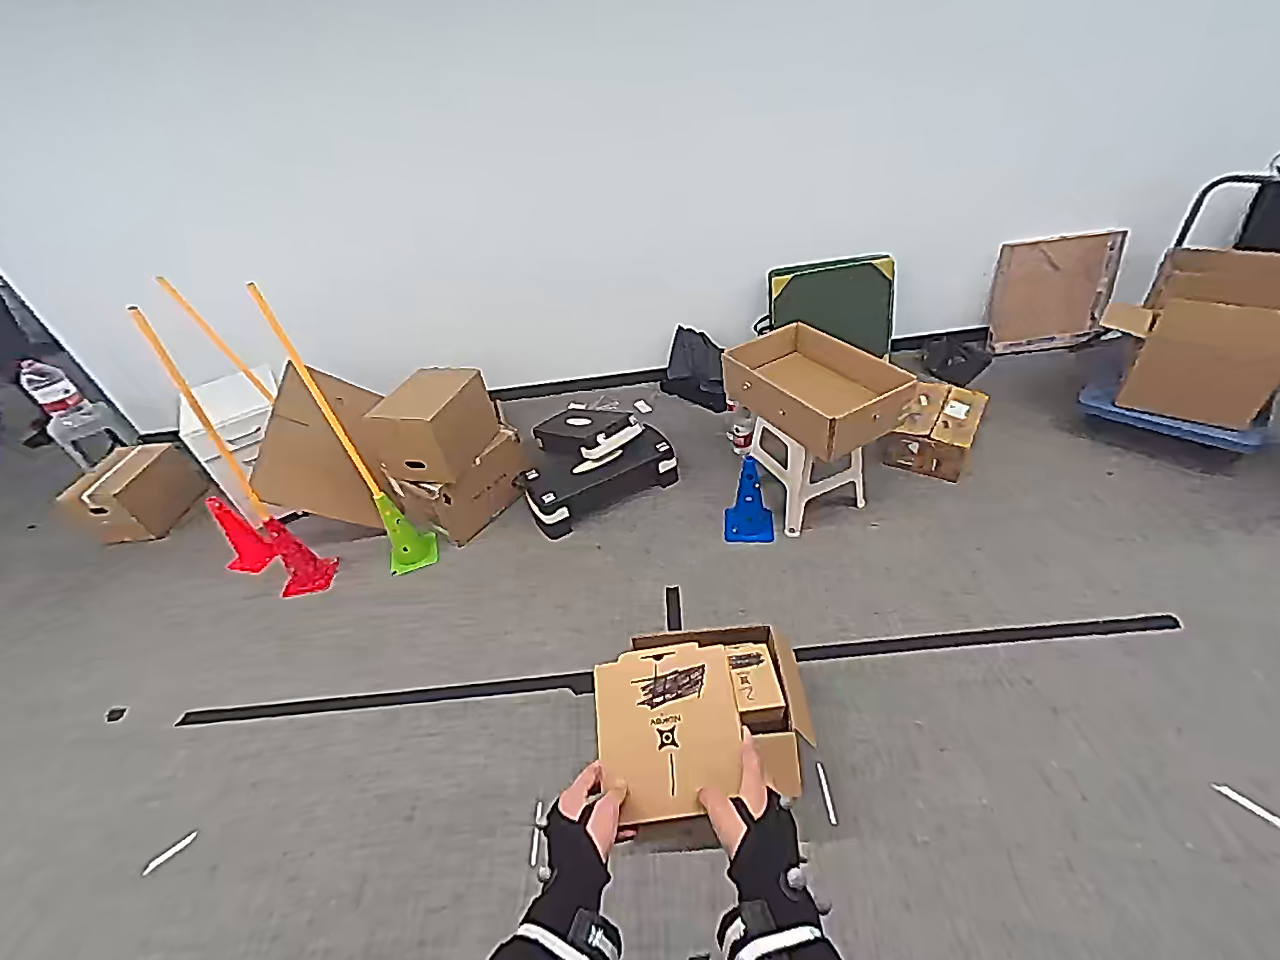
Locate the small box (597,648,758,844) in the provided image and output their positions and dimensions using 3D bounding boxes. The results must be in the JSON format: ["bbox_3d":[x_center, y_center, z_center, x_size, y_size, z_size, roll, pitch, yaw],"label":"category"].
[{"bbox_3d":[0.047,0.333,0.672,0.168,0.176,0.179,-11,51,6],"label":"small box"}]
